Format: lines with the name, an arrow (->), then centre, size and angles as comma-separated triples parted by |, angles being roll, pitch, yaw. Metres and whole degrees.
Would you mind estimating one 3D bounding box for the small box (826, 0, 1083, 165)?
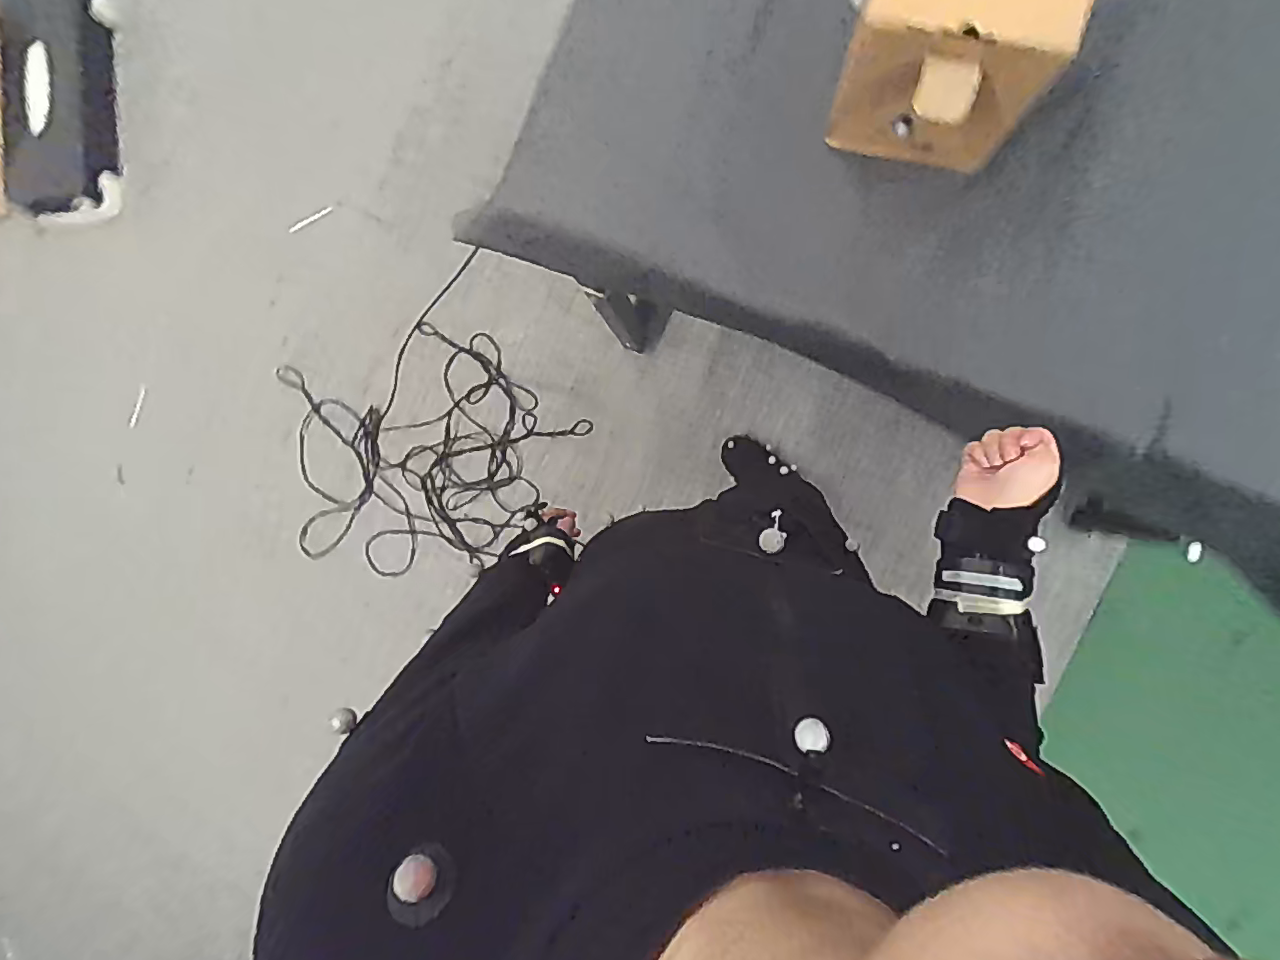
small box -> 0.289, -0.441, 0.510 | 0.168, 0.176, 0.179 | 14, 93, 7
